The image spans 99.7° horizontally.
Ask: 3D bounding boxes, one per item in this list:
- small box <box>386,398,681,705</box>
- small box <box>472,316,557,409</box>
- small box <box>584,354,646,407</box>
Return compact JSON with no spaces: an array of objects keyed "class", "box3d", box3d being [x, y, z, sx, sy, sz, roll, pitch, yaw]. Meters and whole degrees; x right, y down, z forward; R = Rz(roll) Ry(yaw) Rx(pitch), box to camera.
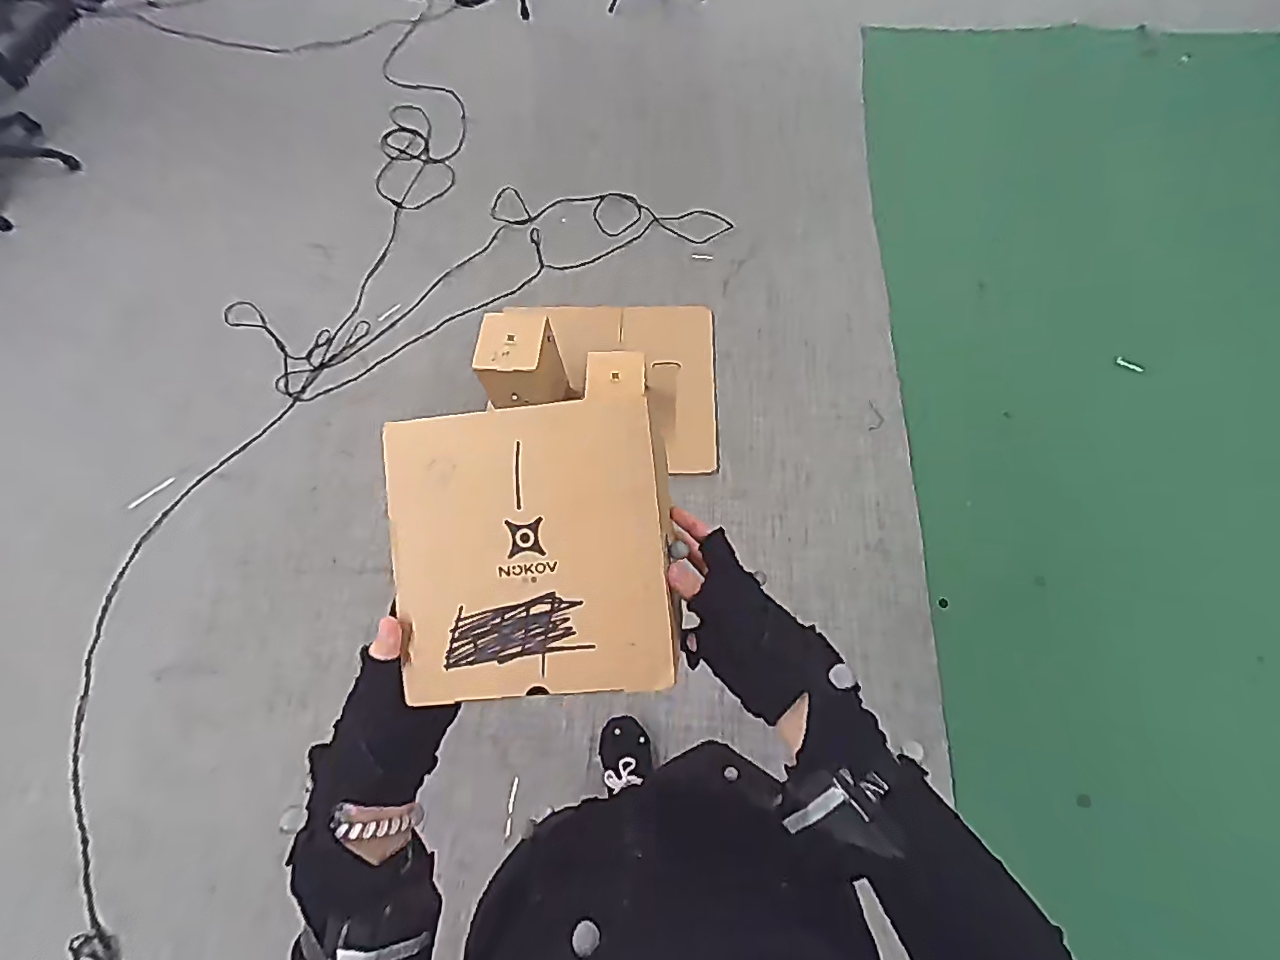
[{"class":"small box","box3d":[-0.060,0.045,0.403,0.168,0.176,0.179,-6,88,5]},{"class":"small box","box3d":[-0.321,-0.306,1.423,0.168,0.176,0.179,3,67,5]},{"class":"small box","box3d":[-0.068,-0.244,1.566,0.168,0.176,0.179,-1,67,2]}]
